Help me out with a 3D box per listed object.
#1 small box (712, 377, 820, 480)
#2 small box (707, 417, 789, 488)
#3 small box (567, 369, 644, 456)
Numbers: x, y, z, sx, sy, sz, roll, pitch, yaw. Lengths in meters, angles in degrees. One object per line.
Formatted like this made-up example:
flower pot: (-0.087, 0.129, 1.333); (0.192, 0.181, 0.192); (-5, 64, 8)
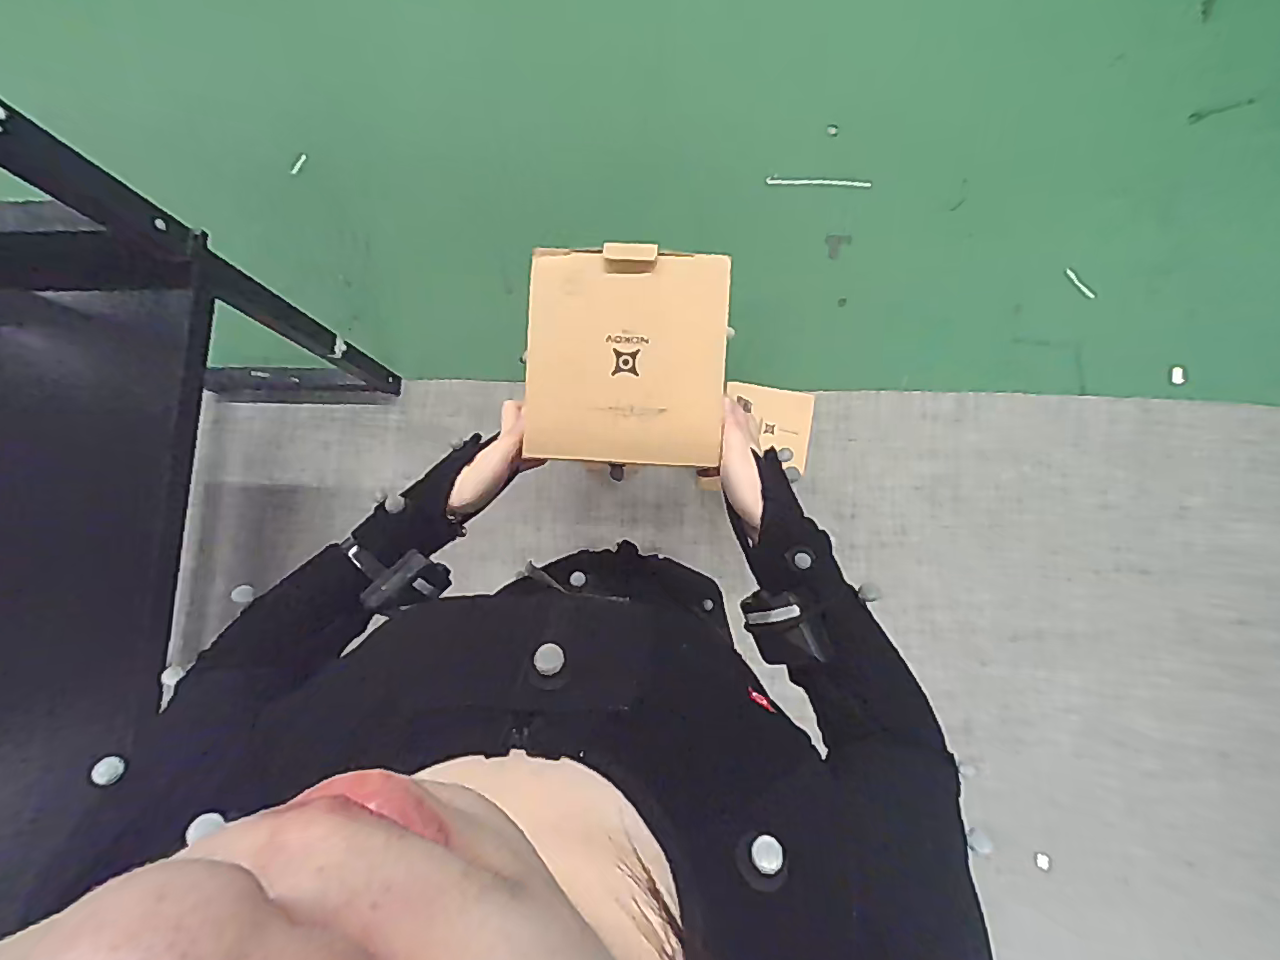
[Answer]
small box: (0.251, -0.099, 1.119); (0.179, 0.176, 0.168); (10, 84, 2)
small box: (0.263, -0.080, 1.282); (0.179, 0.176, 0.168); (13, 85, 3)
small box: (-0.076, -0.157, 1.303); (0.168, 0.176, 0.179); (1, 82, 2)
